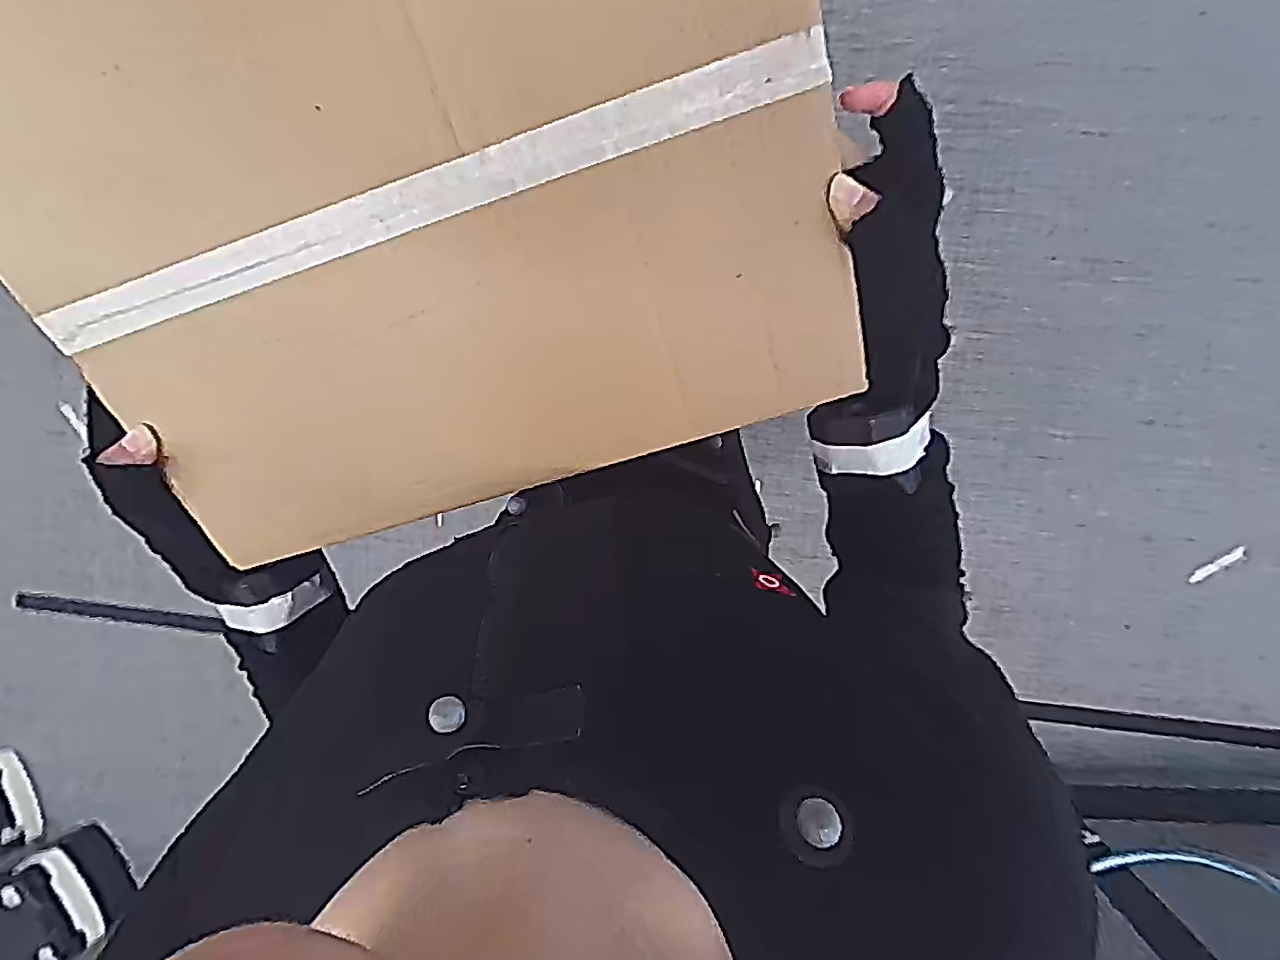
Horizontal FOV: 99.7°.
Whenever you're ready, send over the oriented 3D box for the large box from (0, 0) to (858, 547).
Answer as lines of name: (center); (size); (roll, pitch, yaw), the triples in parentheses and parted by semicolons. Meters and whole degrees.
large box: (-0.110, -0.202, 0.403); (0.408, 0.320, 0.320); (-15, 116, 6)
